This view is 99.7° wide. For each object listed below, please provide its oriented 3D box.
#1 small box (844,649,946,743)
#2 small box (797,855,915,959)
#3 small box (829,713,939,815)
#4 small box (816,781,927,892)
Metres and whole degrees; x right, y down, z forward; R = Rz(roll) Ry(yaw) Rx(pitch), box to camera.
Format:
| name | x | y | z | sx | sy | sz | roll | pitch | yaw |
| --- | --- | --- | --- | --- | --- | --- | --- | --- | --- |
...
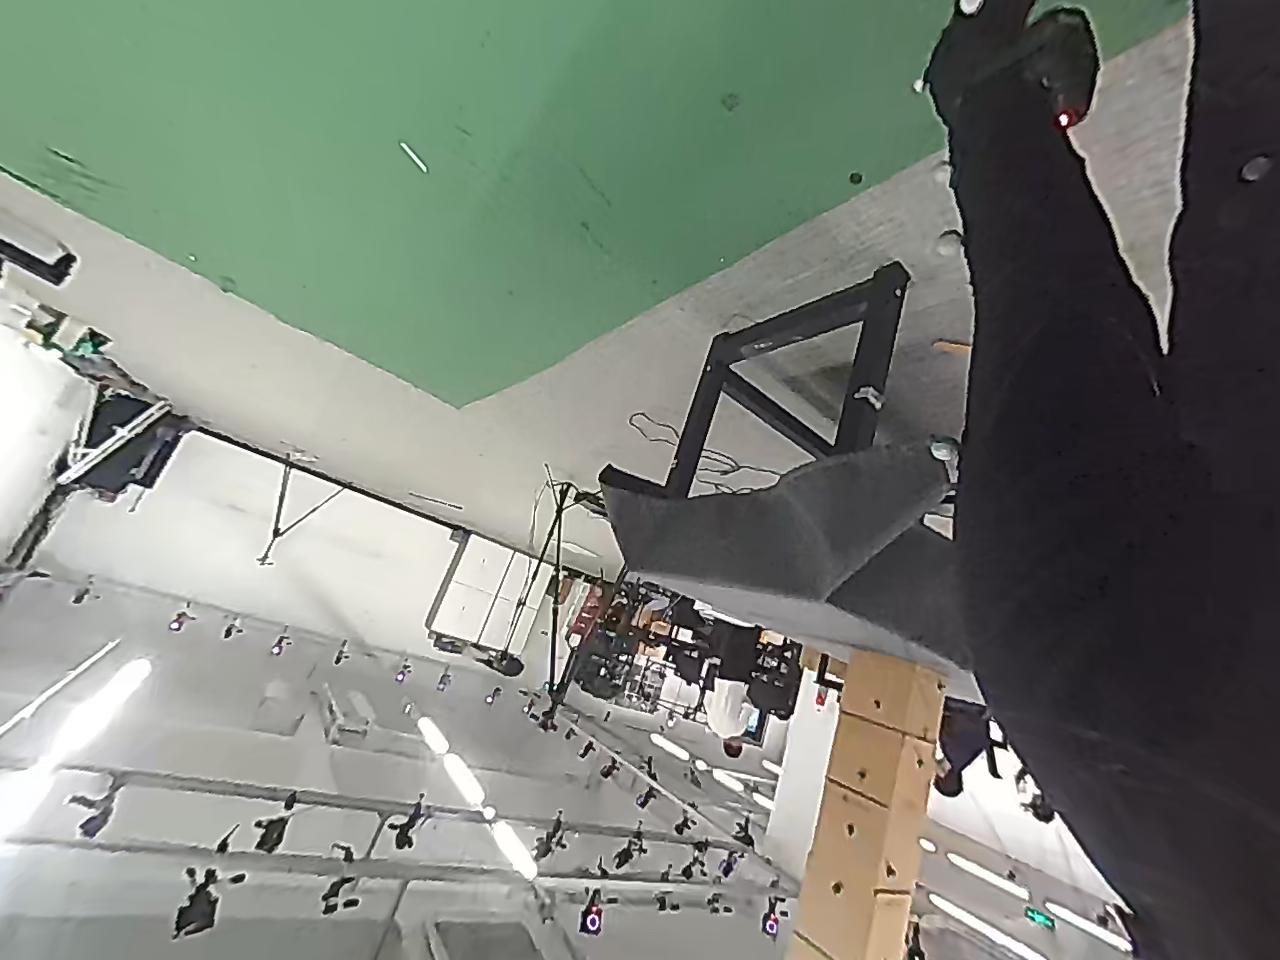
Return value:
| name | x | y | z | sx | sy | sz | roll | pitch | yaw |
| --- | --- | --- | --- | --- | --- | --- | --- | --- | --- |
| small box | 0.657 | 0.545 | 1.381 | 0.168 | 0.176 | 0.179 | 29 | 162 | -29 |
| small box | 0.496 | 0.985 | 1.238 | 0.168 | 0.176 | 0.179 | 30 | 161 | -31 |
| small box | 0.605 | 0.691 | 1.335 | 0.168 | 0.176 | 0.179 | 29 | 161 | -29 |
| small box | 0.552 | 0.839 | 1.286 | 0.179 | 0.176 | 0.168 | 29 | 161 | -30 |
